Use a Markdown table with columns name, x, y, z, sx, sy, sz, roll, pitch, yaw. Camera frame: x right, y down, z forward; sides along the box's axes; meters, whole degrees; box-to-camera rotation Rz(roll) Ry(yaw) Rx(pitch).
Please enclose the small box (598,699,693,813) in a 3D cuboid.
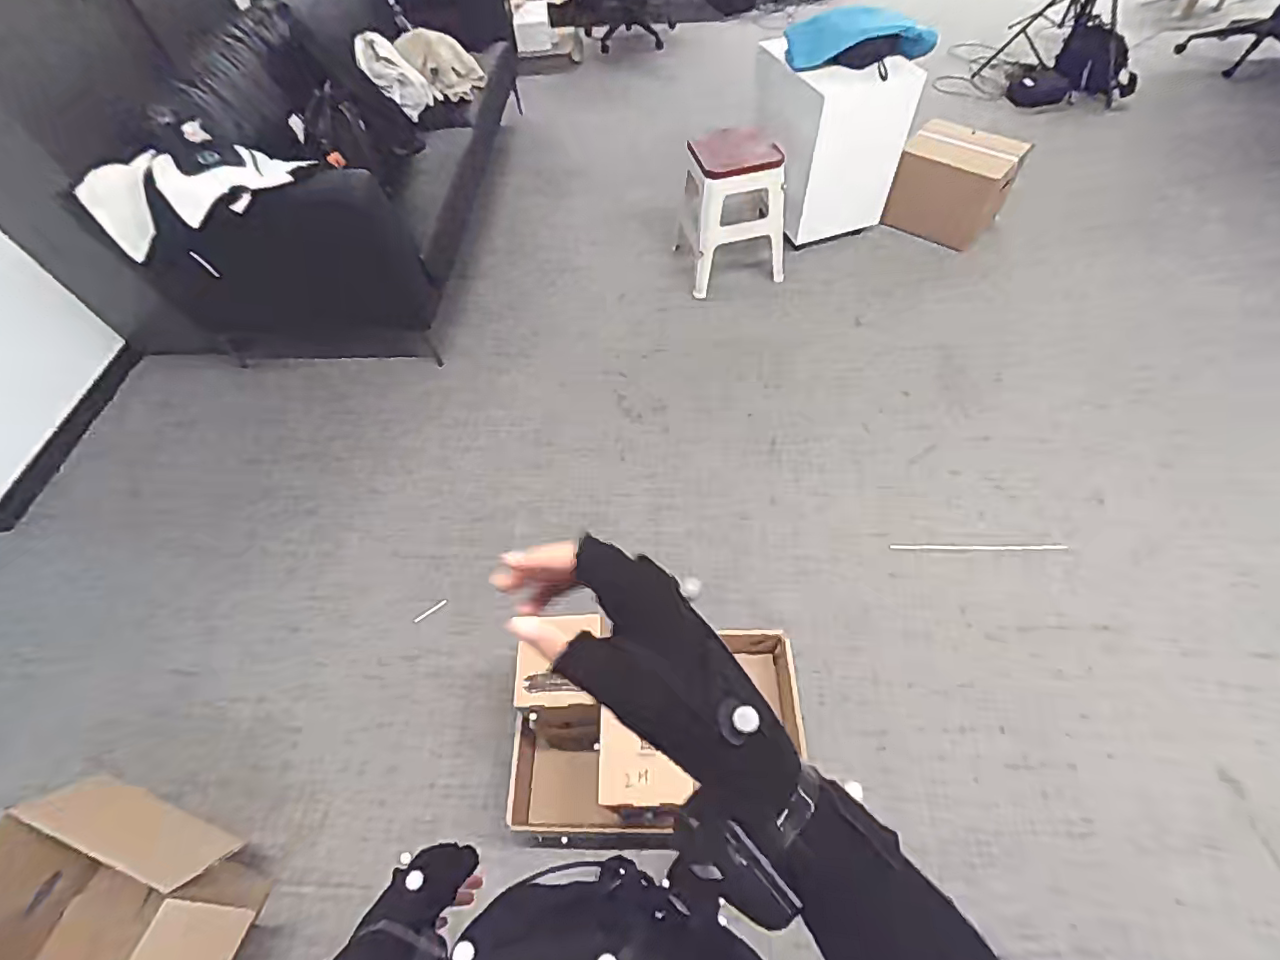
| name | x | y | z | sx | sy | sz | roll | pitch | yaw |
| --- | --- | --- | --- | --- | --- | --- | --- | --- | --- |
| small box | 0.012 | 0.527 | 1.028 | 0.168 | 0.176 | 0.179 | -2 | 56 | 2 |
